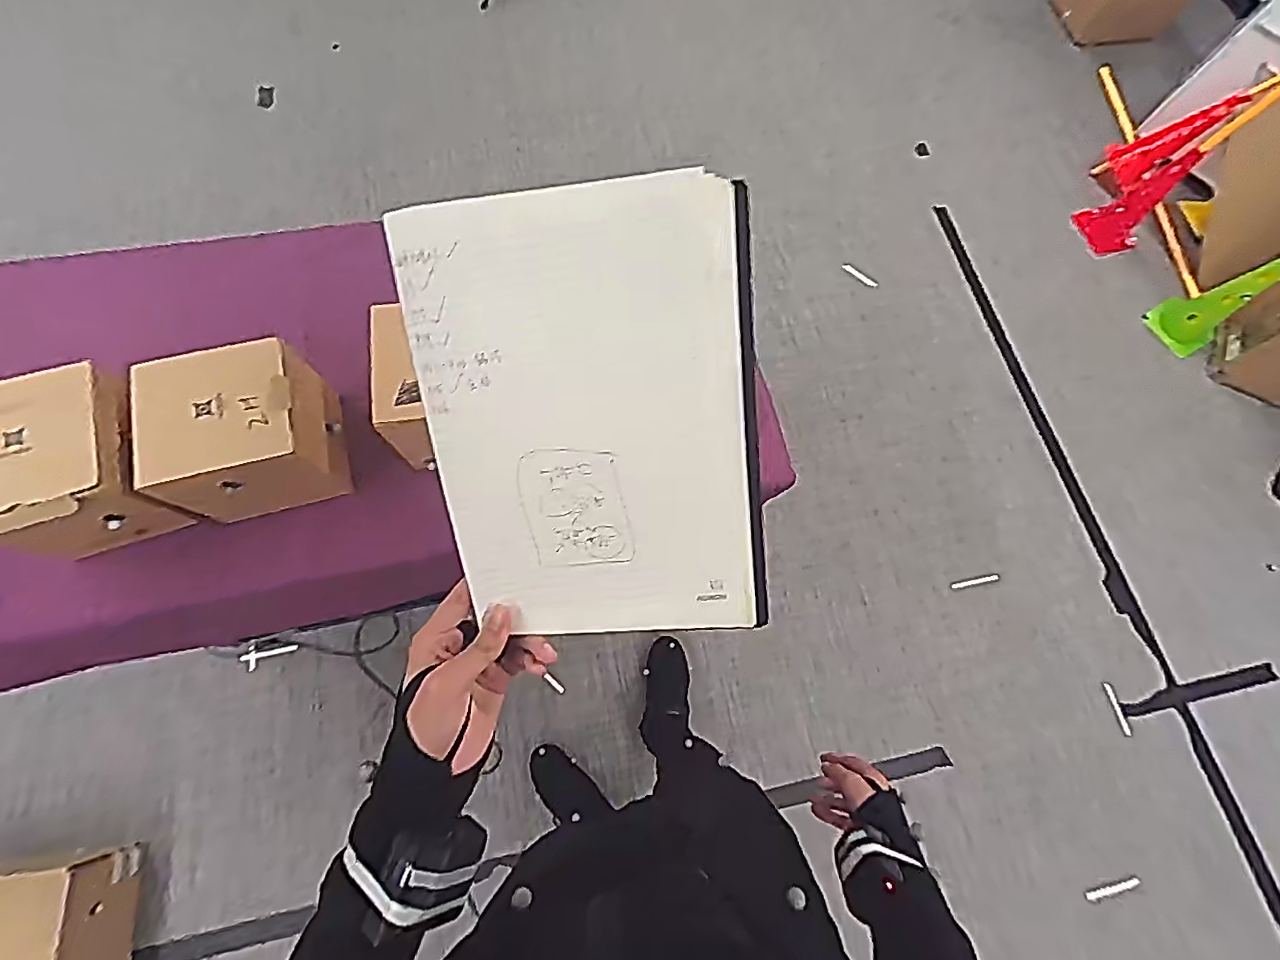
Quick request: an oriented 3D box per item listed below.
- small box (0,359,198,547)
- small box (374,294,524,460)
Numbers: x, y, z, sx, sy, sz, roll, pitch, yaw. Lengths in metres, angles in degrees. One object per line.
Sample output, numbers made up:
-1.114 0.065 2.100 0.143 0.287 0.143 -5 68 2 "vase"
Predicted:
-0.718 -0.023 0.700 0.168 0.176 0.179 -18 74 -11 "small box"
-0.263 -0.136 0.772 0.168 0.176 0.179 -7 72 -7 "small box"
